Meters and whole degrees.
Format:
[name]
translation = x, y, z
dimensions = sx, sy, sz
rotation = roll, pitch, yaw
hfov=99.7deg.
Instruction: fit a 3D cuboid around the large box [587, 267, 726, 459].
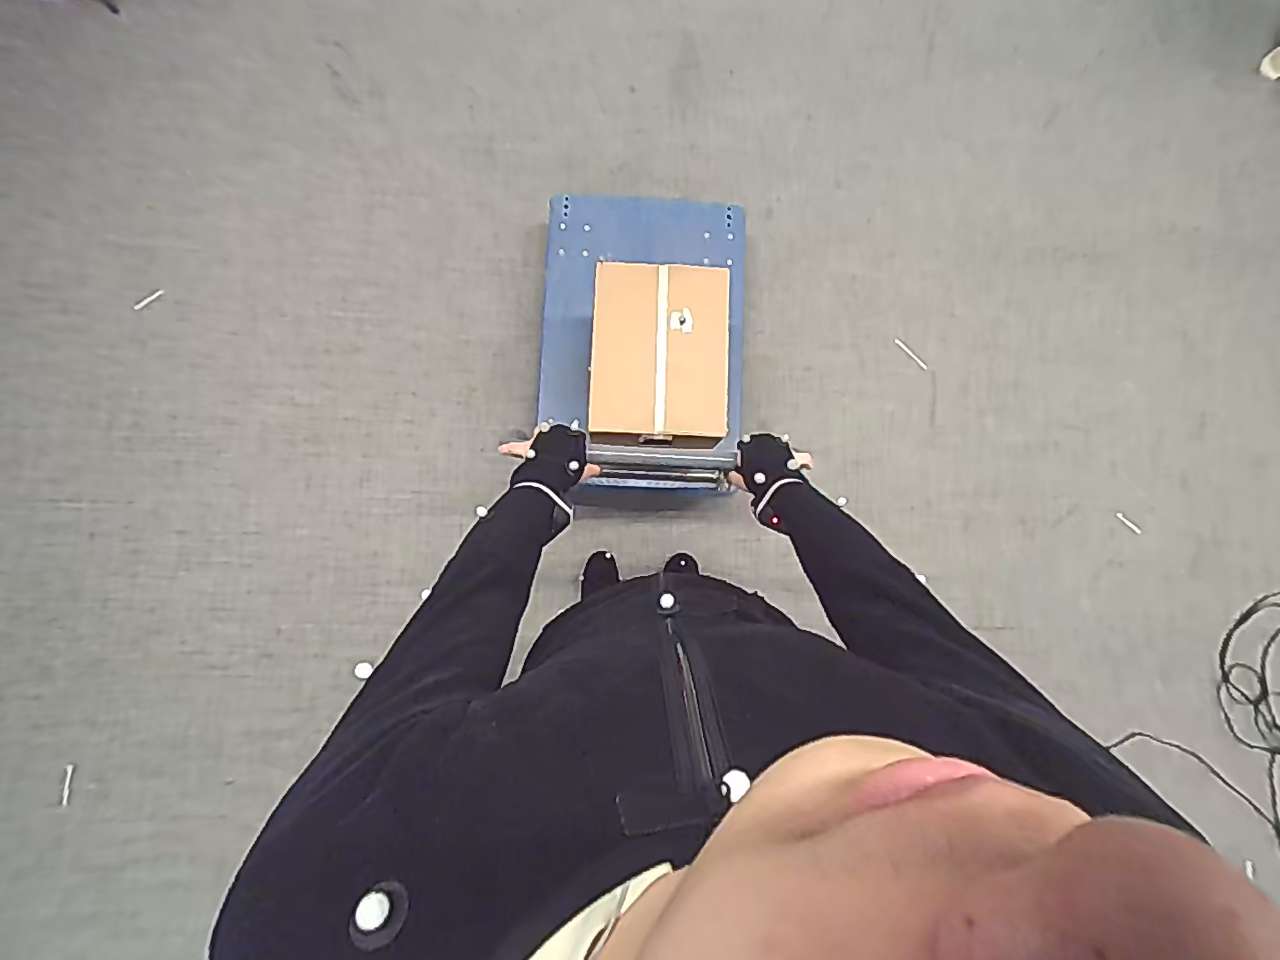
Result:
[large box]
translation = 0.034, -0.275, 1.378
dimensions = 0.320, 0.320, 0.408
rotation = 2, 82, -3
